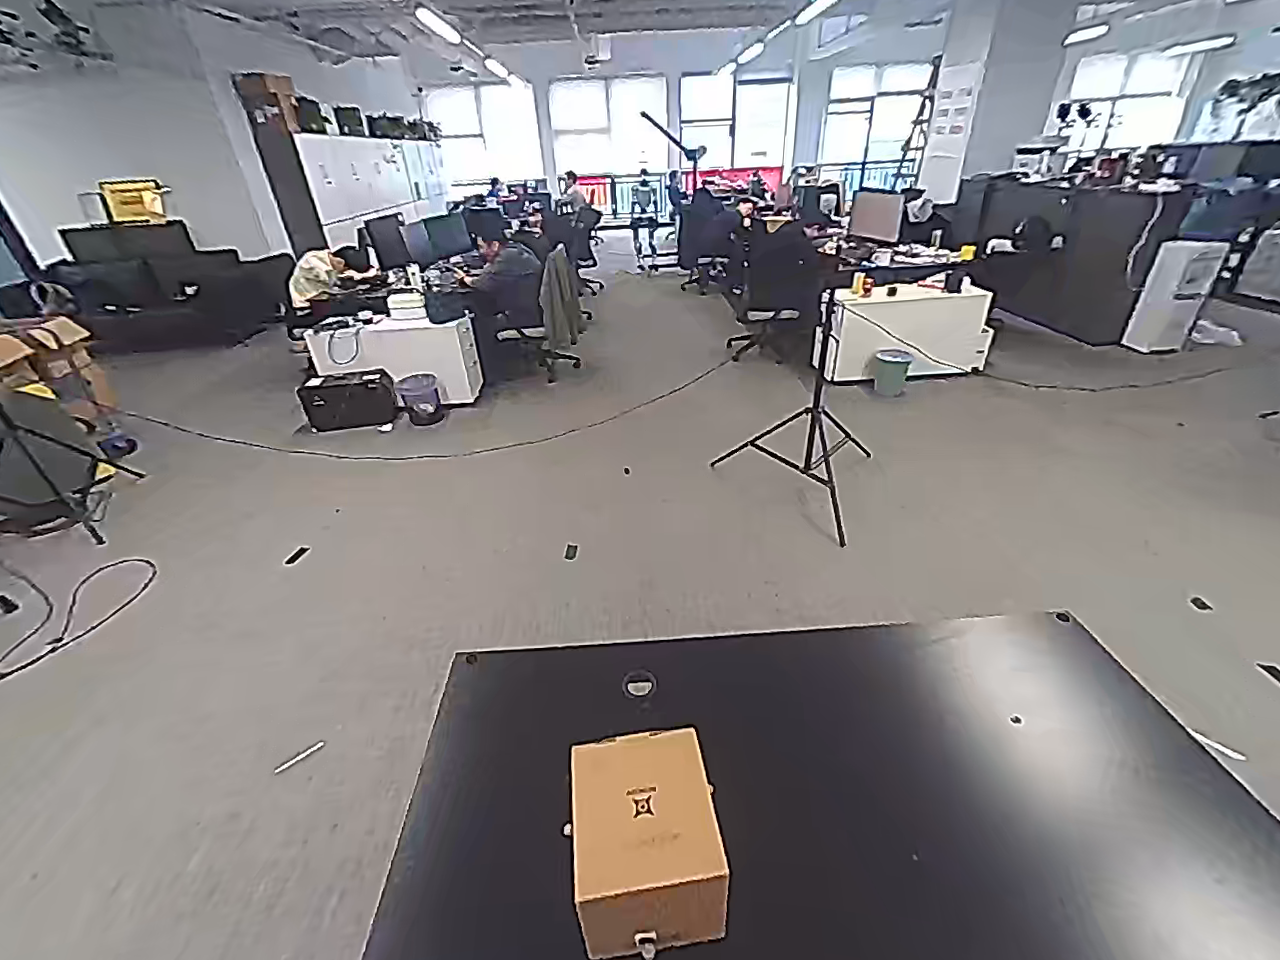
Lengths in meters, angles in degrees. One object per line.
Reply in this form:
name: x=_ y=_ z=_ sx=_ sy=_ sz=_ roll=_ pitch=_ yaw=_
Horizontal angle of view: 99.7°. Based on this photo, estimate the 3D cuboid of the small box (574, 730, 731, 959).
small box: x=0.009 y=0.452 z=0.678 sx=0.168 sy=0.176 sz=0.179 roll=-8 pitch=32 yaw=-5
